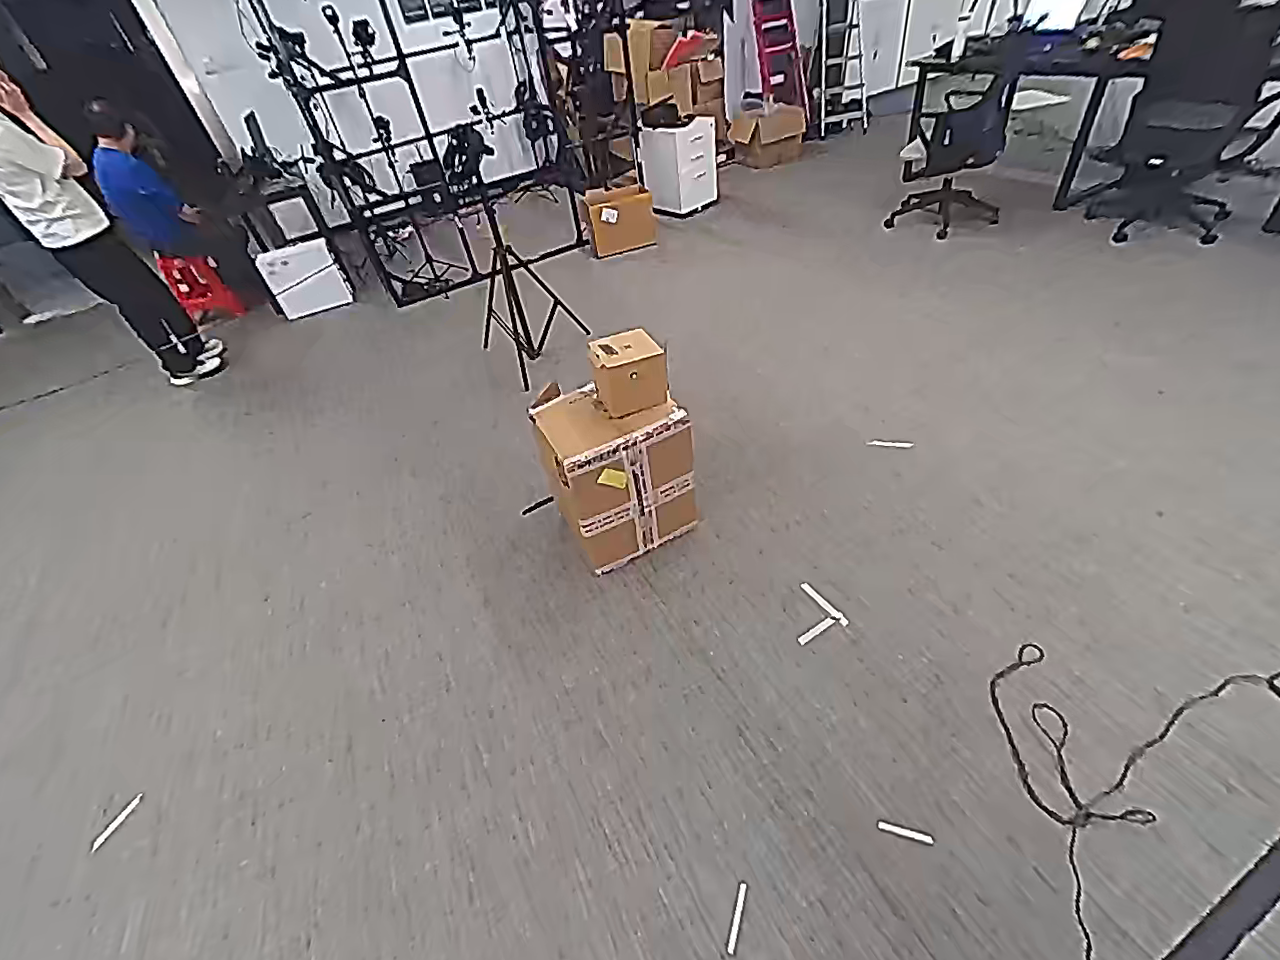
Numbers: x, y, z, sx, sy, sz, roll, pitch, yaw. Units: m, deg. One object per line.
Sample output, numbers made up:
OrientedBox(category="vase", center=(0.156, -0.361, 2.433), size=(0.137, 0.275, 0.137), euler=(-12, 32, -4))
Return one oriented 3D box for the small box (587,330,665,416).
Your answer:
OrientedBox(category="small box", center=(-0.038, -0.312, 1.589), size=(0.179, 0.176, 0.168), euler=(-20, 44, -14))
